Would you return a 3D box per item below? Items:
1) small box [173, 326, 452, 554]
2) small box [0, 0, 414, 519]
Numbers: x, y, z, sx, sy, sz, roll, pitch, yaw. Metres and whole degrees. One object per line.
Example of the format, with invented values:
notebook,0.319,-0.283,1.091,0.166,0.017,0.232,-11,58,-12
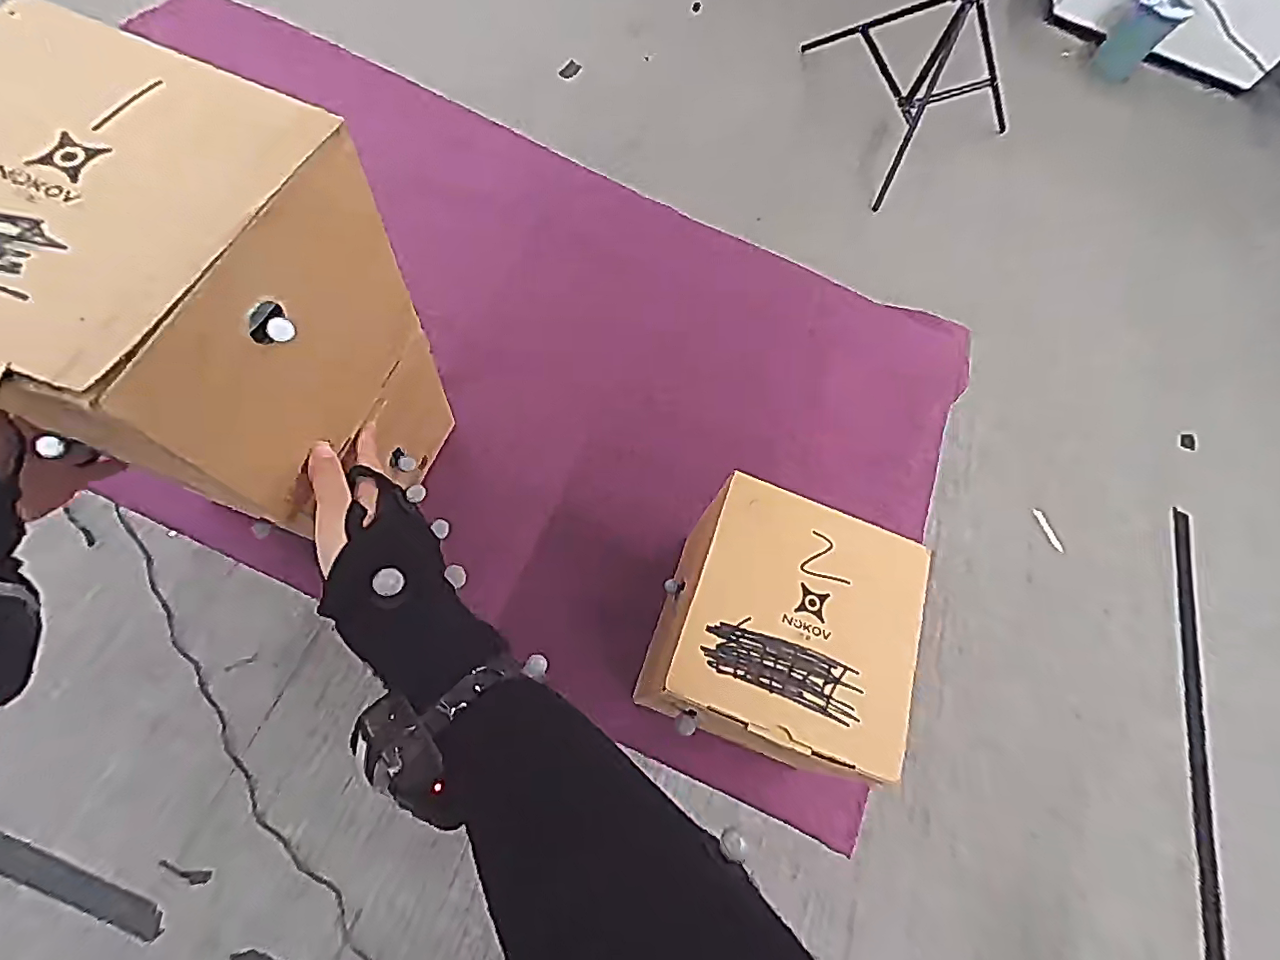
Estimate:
small box,-0.279,-0.048,0.454,0.179,0.176,0.168,22,68,-2
small box,-0.251,-0.098,0.298,0.168,0.176,0.179,21,67,-1
